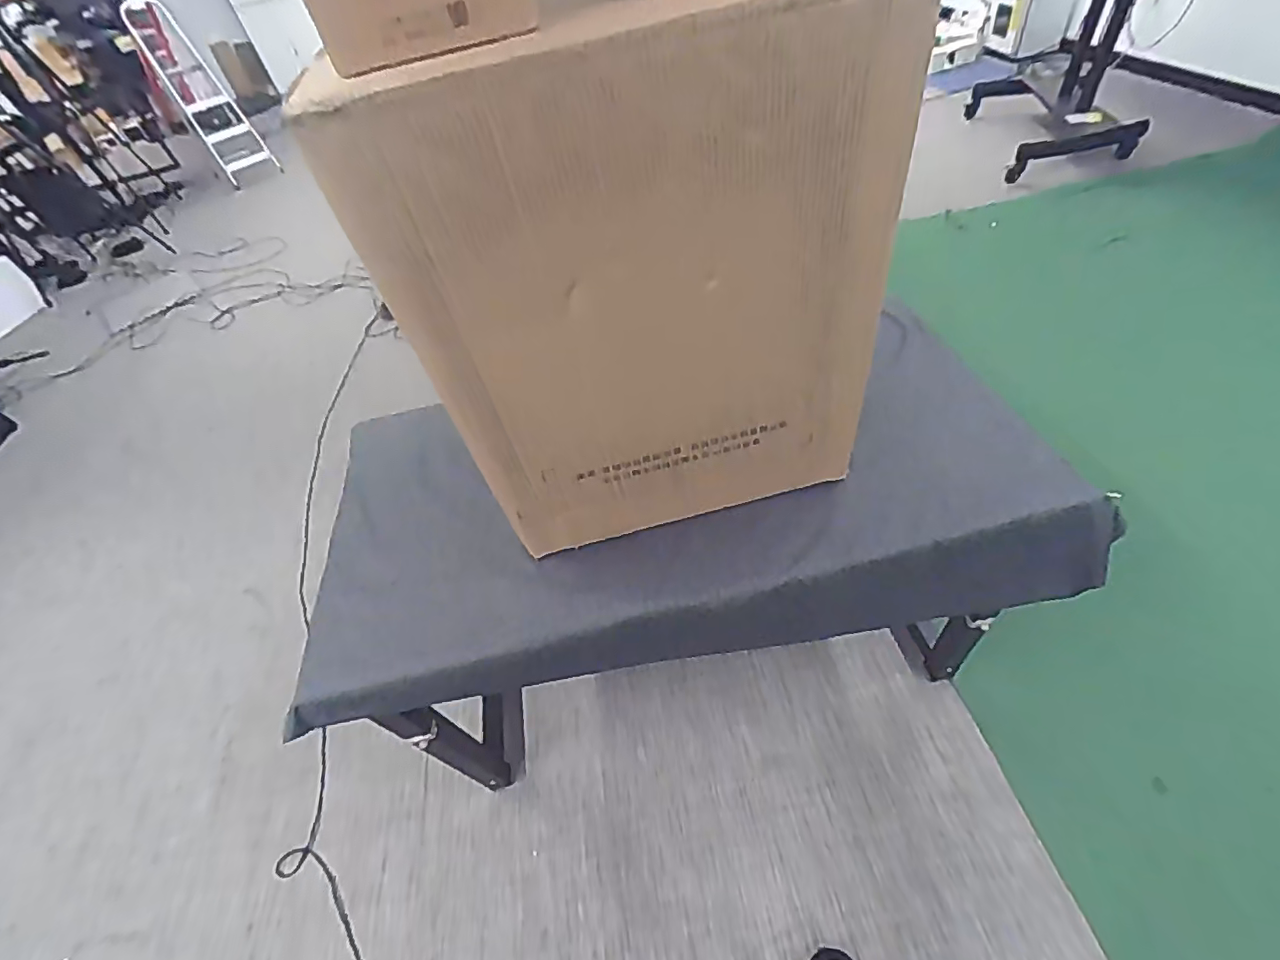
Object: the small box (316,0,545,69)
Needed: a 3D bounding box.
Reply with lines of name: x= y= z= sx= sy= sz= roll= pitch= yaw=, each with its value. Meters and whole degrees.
small box: x=-0.178 y=-0.446 z=0.414 sx=0.168 sy=0.176 sz=0.179 roll=-14 pitch=51 yaw=-1
